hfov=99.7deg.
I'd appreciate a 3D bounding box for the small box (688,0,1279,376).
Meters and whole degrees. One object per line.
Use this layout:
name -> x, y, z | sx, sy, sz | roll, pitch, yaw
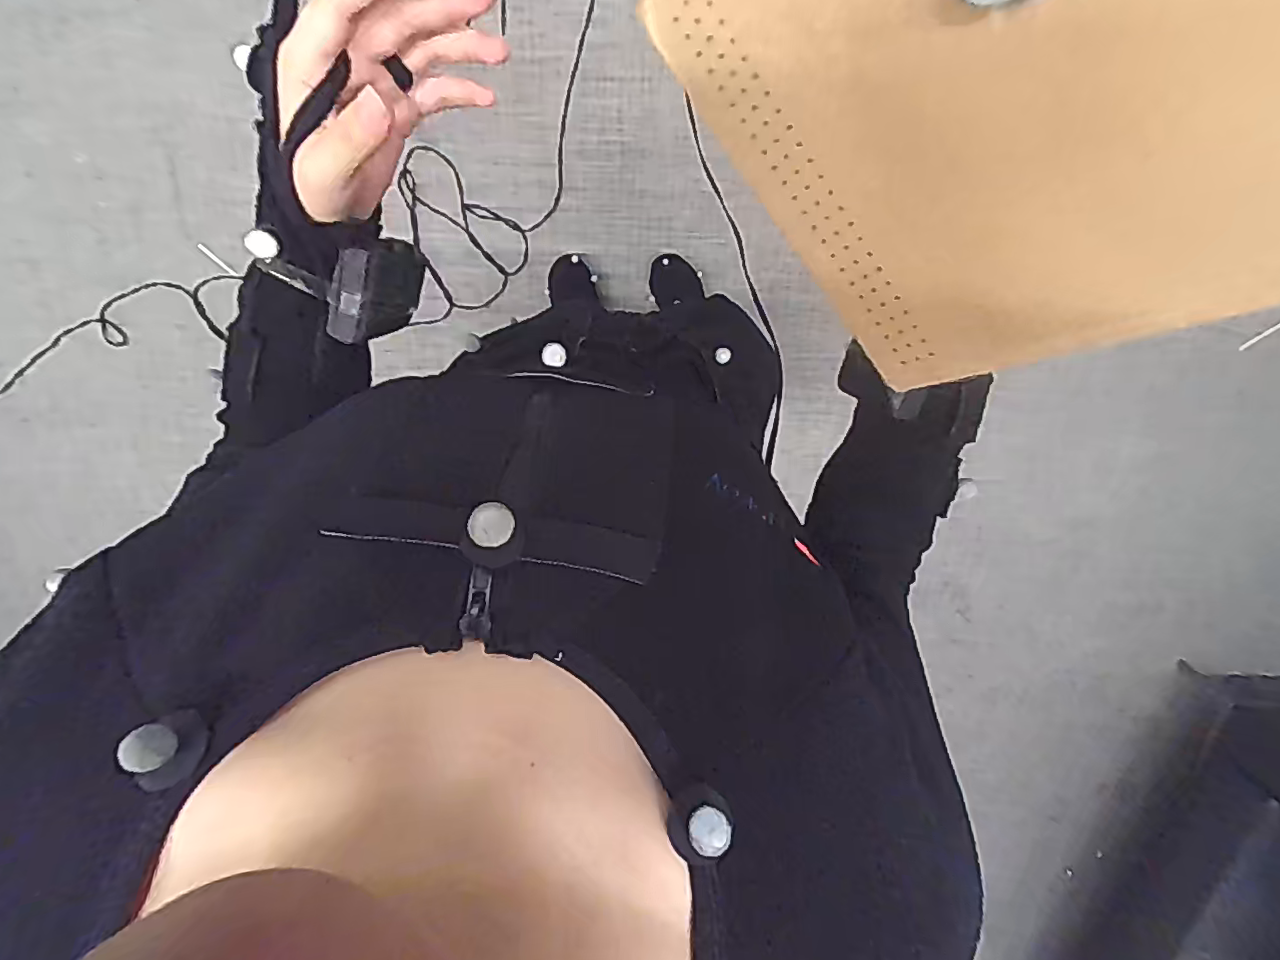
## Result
small box -> 0.146, -0.158, 0.170 | 0.168, 0.176, 0.179 | -46, 104, -17
